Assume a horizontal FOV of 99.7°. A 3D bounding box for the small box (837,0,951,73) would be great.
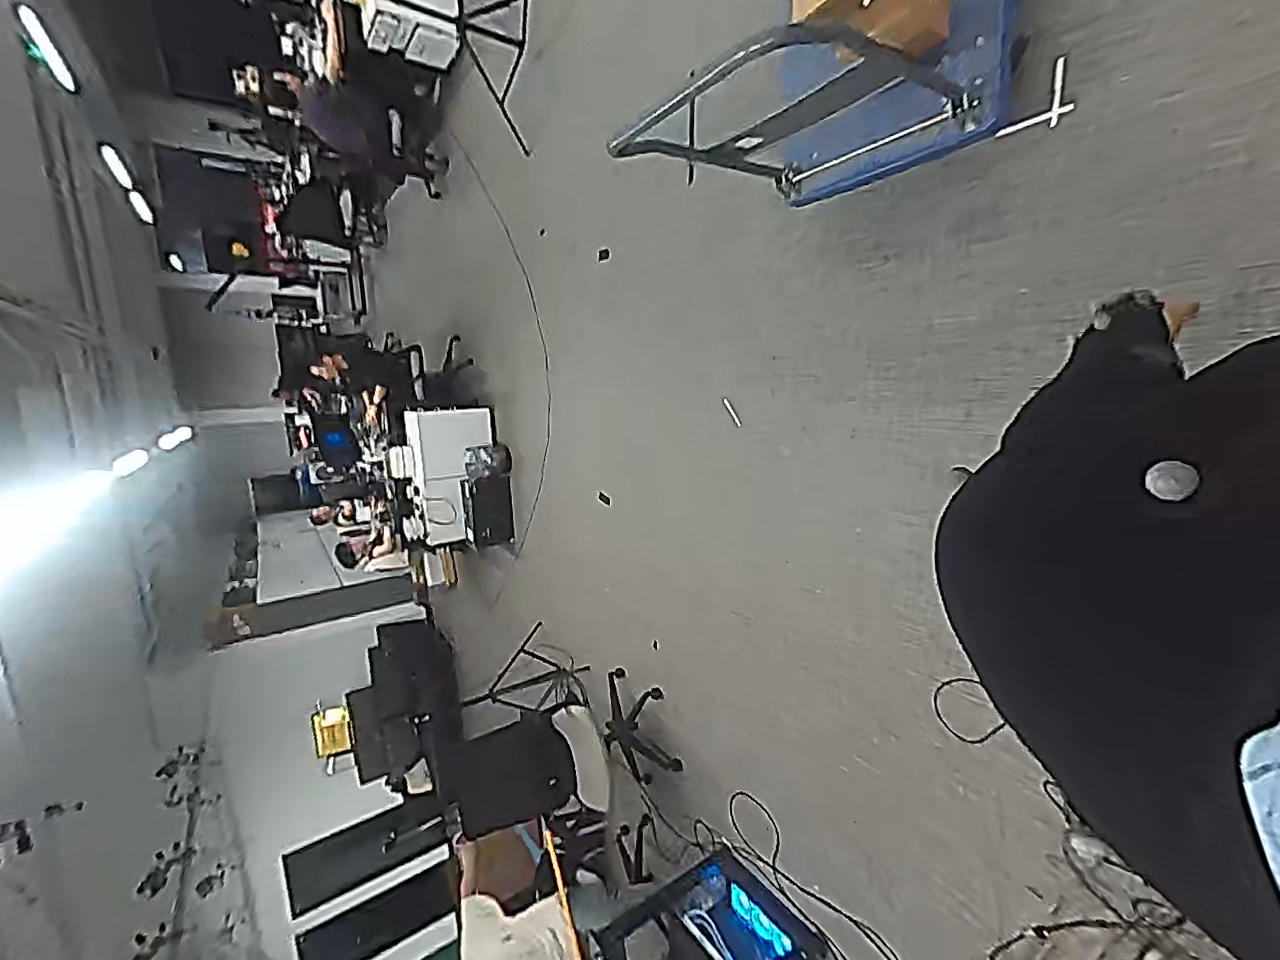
[{"bbox_3d":[0.567,-1.059,1.210,0.179,0.176,0.168,9,105,55],"label":"small box"}]
